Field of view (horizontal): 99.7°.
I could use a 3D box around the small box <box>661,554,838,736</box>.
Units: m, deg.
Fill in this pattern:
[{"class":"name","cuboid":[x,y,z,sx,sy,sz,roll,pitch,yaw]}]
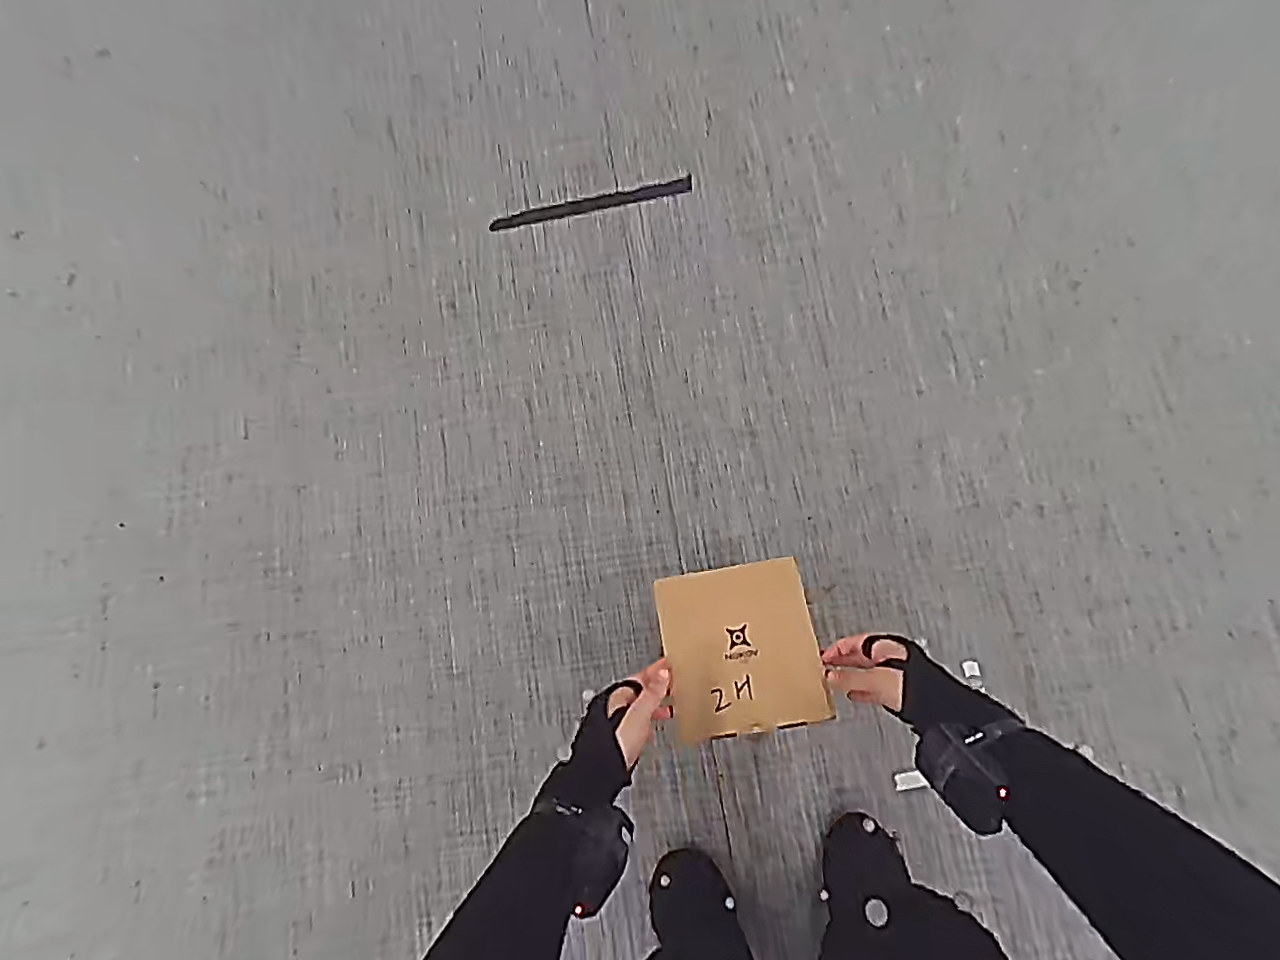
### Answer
[{"class":"small box","cuboid":[0.122,0.203,0.661,0.168,0.176,0.179,-10,69,5]}]
